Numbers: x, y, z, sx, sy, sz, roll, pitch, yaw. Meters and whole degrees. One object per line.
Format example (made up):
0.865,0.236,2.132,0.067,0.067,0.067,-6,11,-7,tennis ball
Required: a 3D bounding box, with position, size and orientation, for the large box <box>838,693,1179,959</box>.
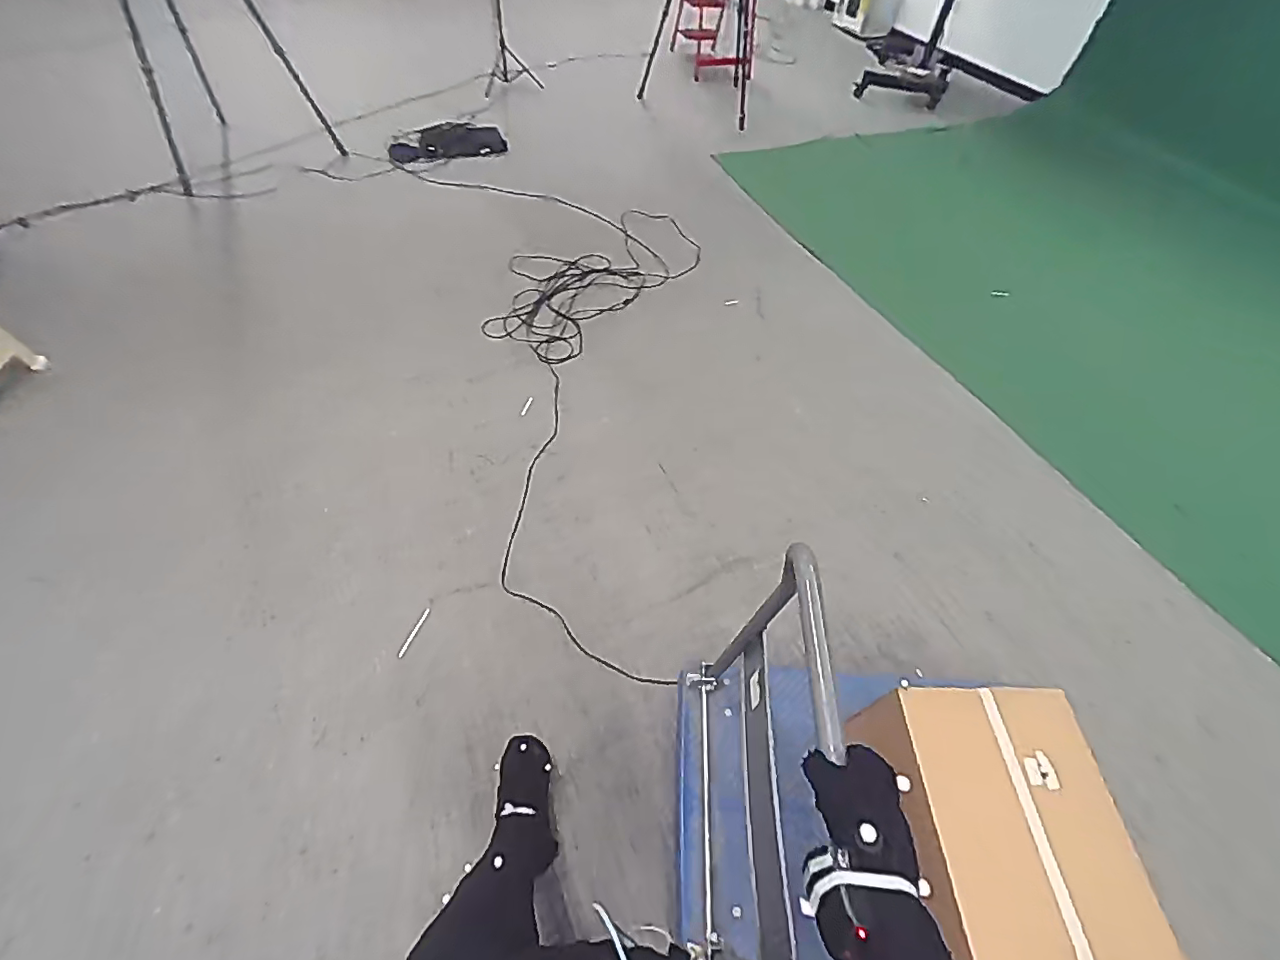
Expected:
0.598,0.636,0.973,0.320,0.320,0.408,2,52,-3,large box
